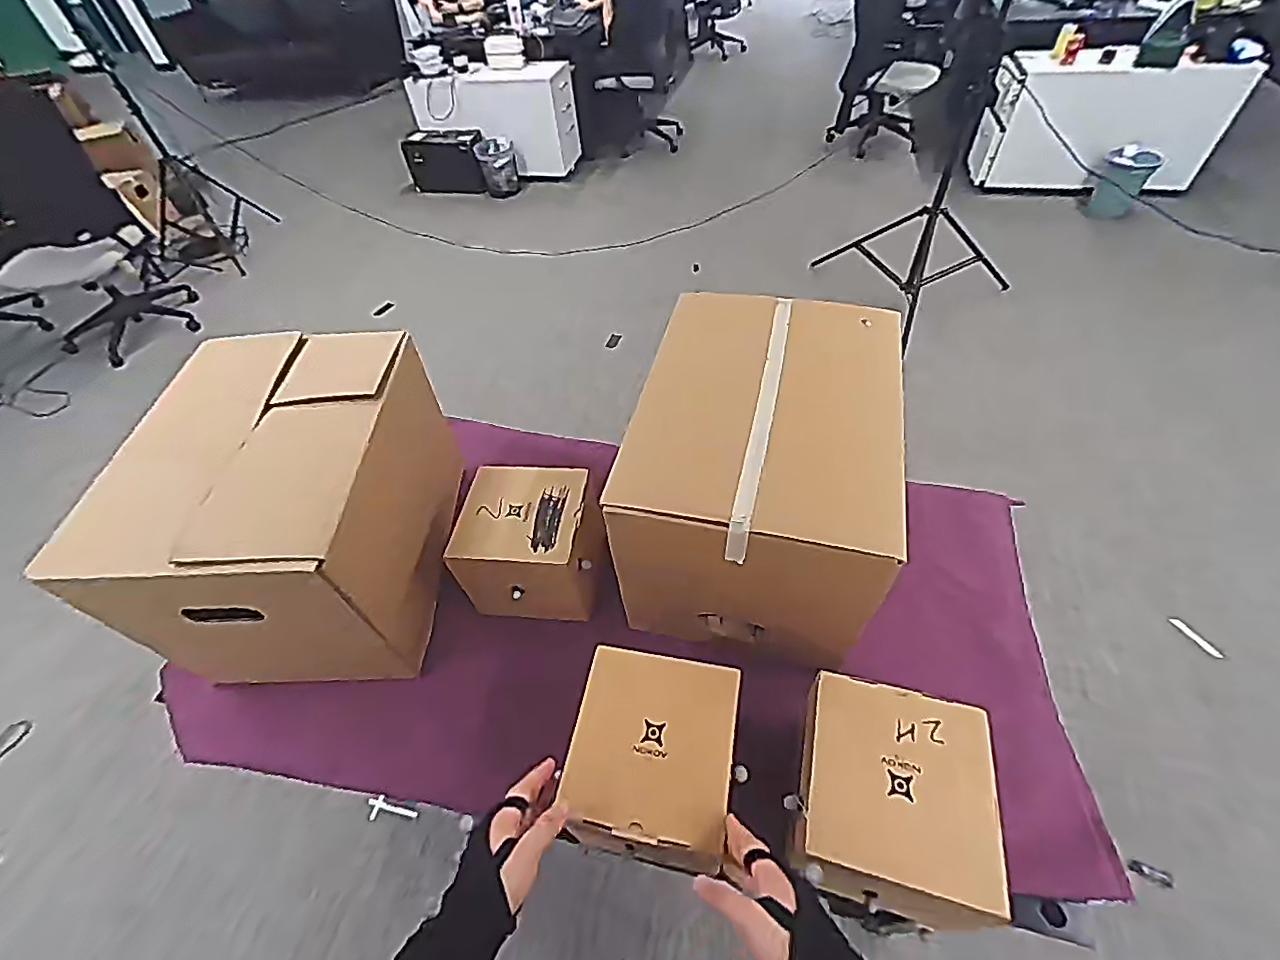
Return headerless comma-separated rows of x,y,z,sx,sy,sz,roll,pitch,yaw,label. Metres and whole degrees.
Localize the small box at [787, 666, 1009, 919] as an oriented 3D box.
0.253,0.329,0.570,0.168,0.176,0.179,10,49,14,small box
